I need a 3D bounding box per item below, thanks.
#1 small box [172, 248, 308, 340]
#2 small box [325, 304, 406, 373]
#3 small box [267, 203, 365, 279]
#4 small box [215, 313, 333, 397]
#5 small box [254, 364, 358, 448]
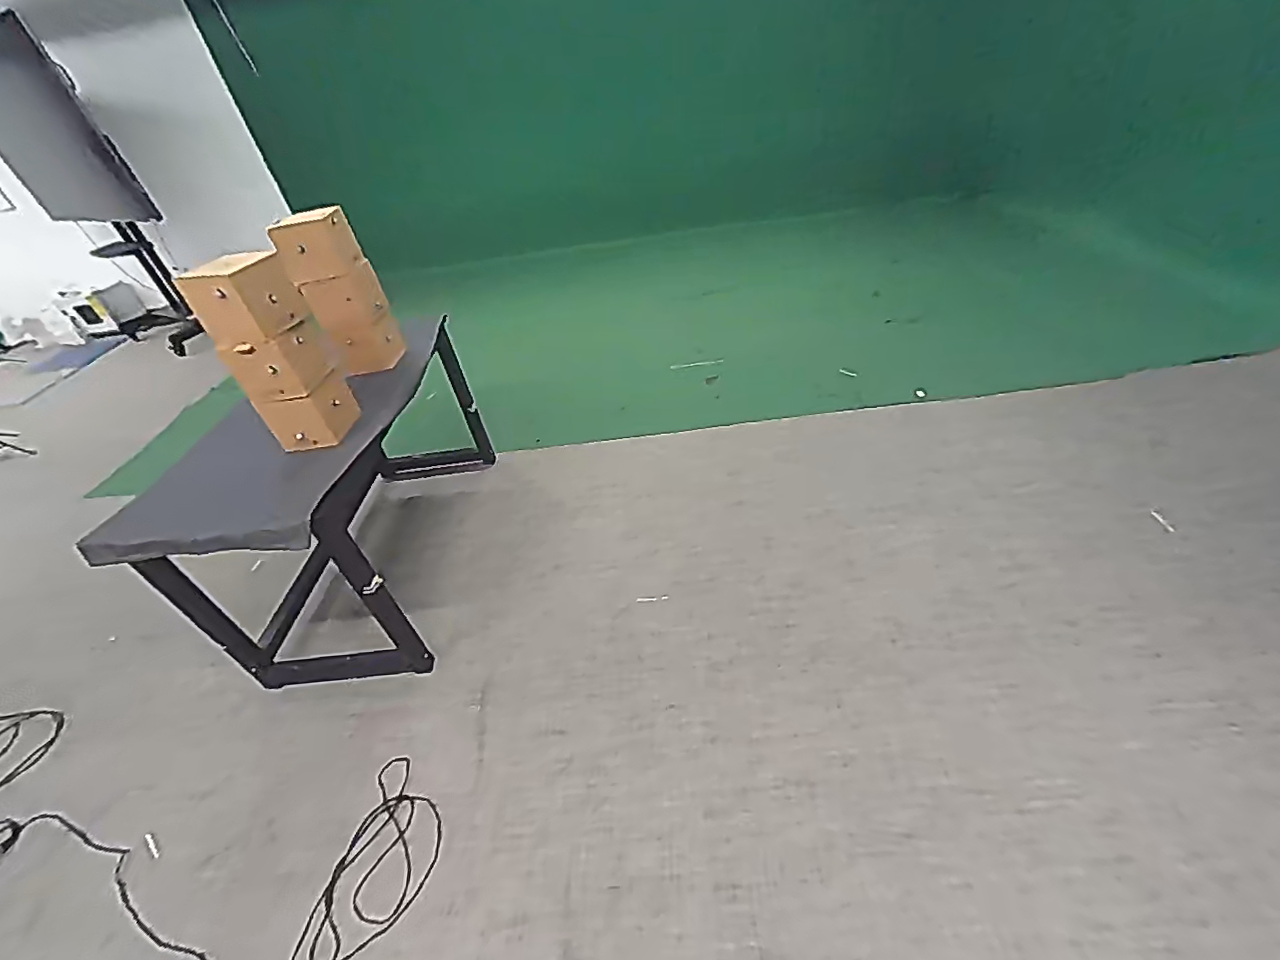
[{"bbox_3d":[-0.985,-0.462,1.352,0.179,0.176,0.168,3,40,15],"label":"small box"},{"bbox_3d":[-0.956,-0.497,1.903,0.179,0.176,0.168,-8,40,5],"label":"small box"},{"bbox_3d":[-1.005,-0.745,1.692,0.179,0.176,0.168,-10,40,3],"label":"small box"},{"bbox_3d":[-0.969,-0.334,1.455,0.168,0.176,0.179,-5,39,5],"label":"small box"},{"bbox_3d":[-0.949,-0.213,1.560,0.168,0.176,0.179,-7,40,5],"label":"small box"}]
